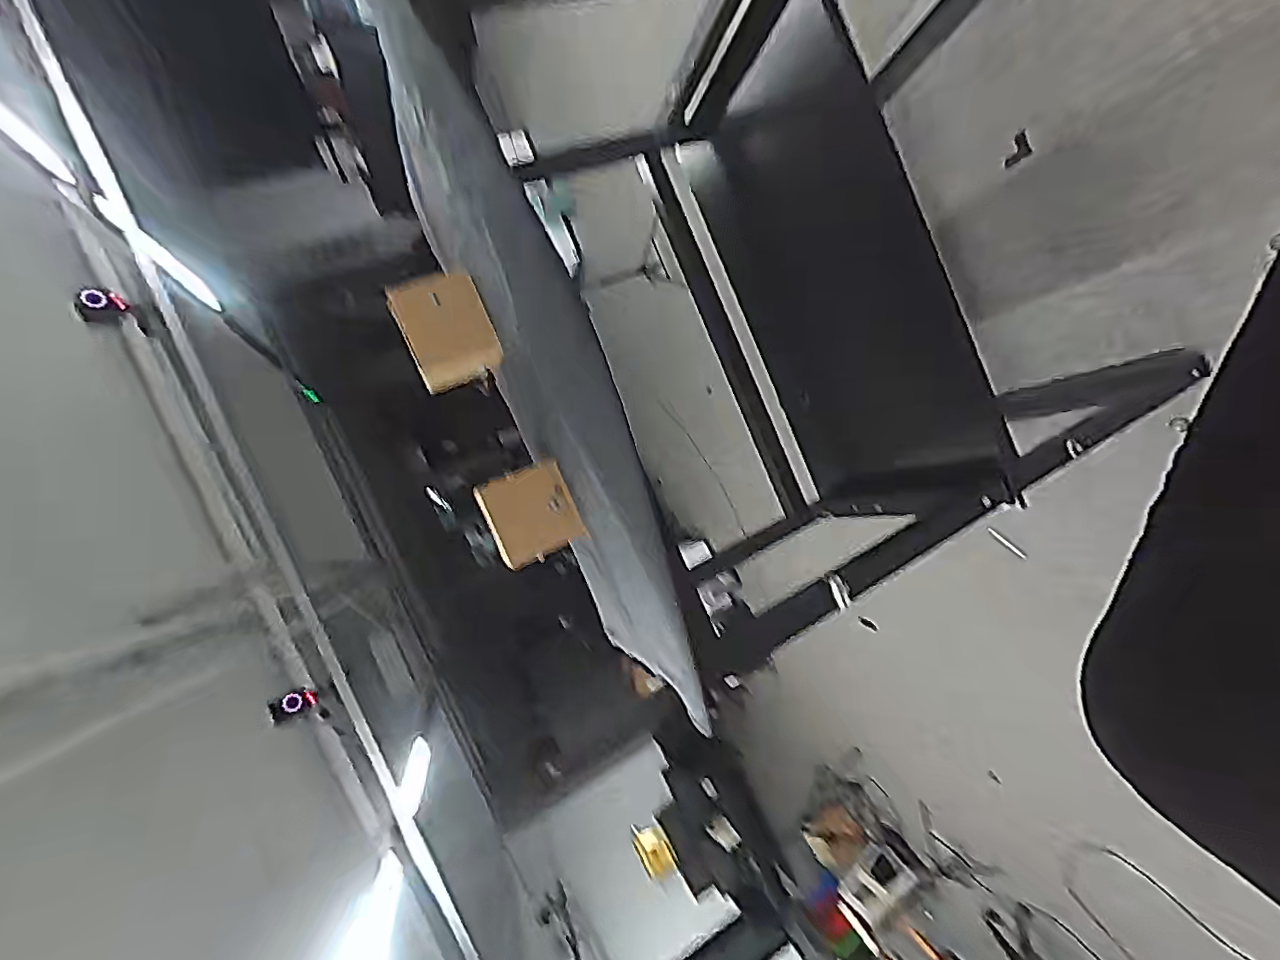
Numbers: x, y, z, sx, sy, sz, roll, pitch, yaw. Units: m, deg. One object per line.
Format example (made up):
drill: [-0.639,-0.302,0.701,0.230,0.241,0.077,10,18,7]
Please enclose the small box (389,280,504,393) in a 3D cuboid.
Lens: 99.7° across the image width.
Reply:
small box: [-0.408,-0.308,1.156,0.179,0.176,0.168,67,164,-4]
